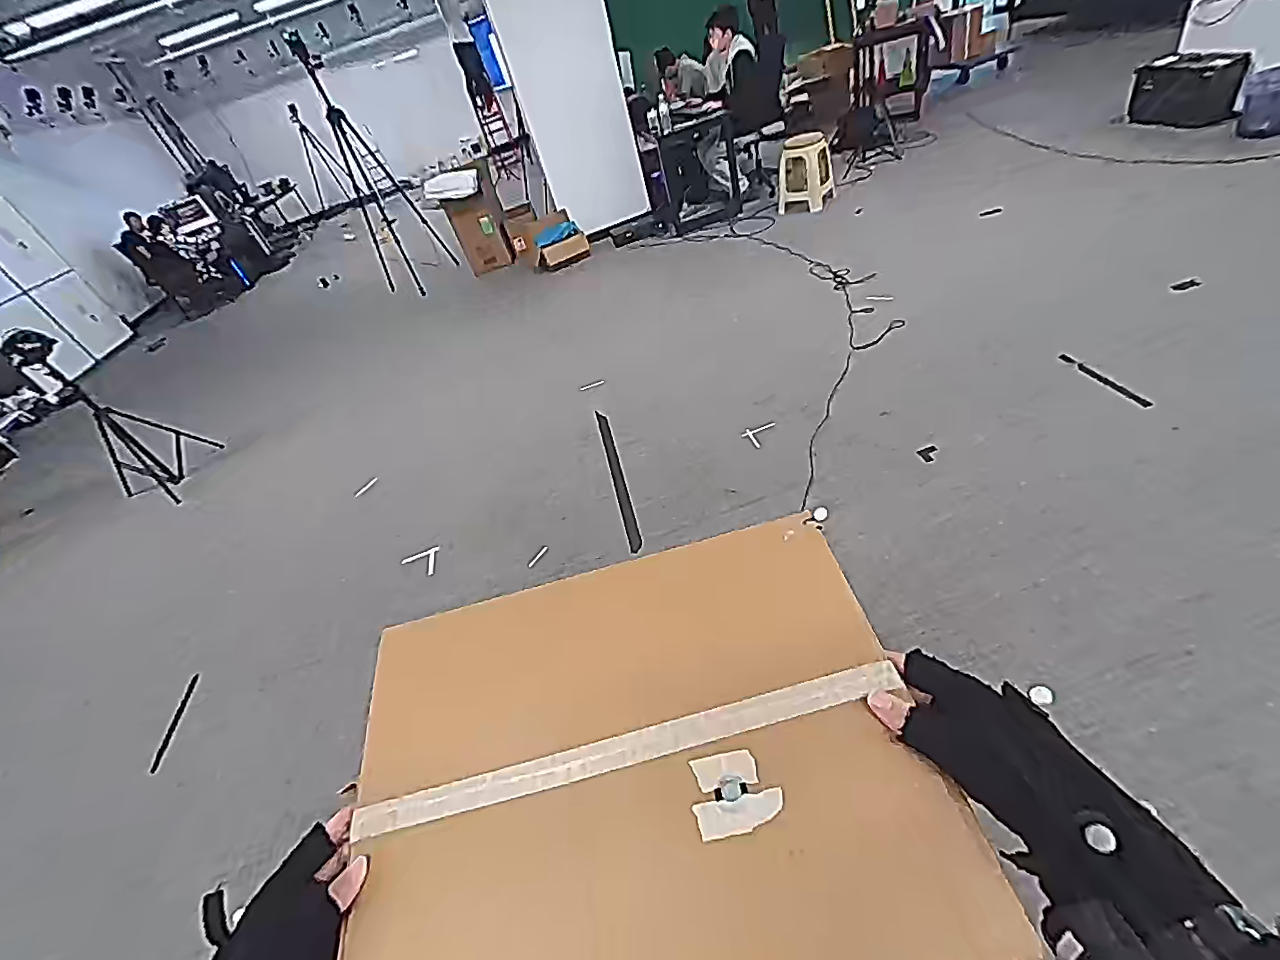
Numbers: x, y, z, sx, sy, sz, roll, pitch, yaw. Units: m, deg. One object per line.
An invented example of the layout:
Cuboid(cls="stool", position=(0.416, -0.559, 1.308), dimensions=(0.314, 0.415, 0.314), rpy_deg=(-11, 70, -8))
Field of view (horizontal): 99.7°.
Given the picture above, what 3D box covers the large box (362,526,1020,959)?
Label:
Cuboid(cls="large box", position=(0.021, 0.302, 0.510), dimensions=(0.408, 0.320, 0.320), rpy_deg=(-16, 48, 0))
